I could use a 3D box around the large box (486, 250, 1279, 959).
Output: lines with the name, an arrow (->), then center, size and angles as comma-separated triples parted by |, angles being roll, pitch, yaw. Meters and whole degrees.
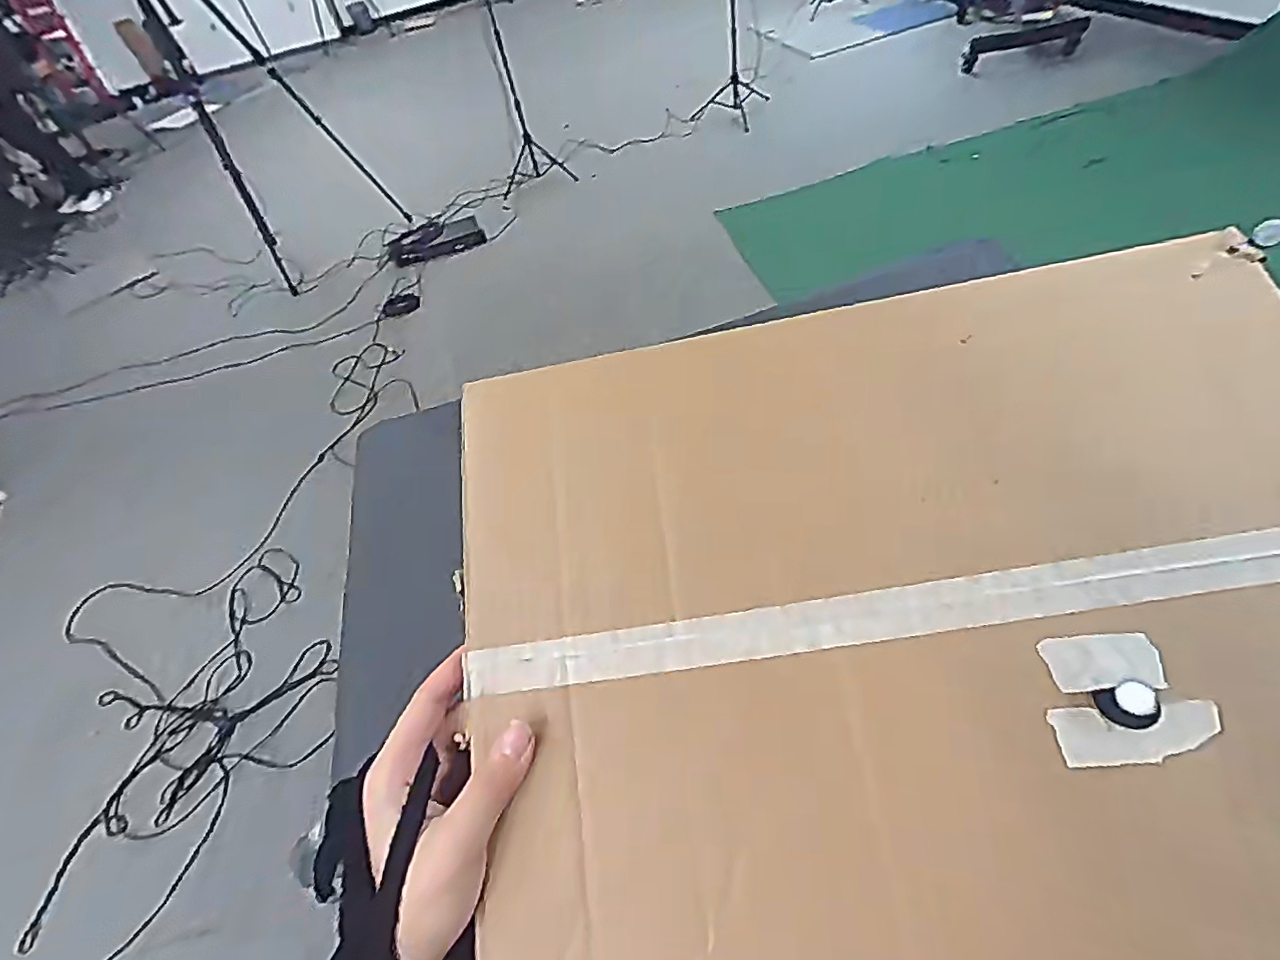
large box -> 0.143, 0.102, 0.392 | 0.408, 0.320, 0.320 | -10, 71, 5
